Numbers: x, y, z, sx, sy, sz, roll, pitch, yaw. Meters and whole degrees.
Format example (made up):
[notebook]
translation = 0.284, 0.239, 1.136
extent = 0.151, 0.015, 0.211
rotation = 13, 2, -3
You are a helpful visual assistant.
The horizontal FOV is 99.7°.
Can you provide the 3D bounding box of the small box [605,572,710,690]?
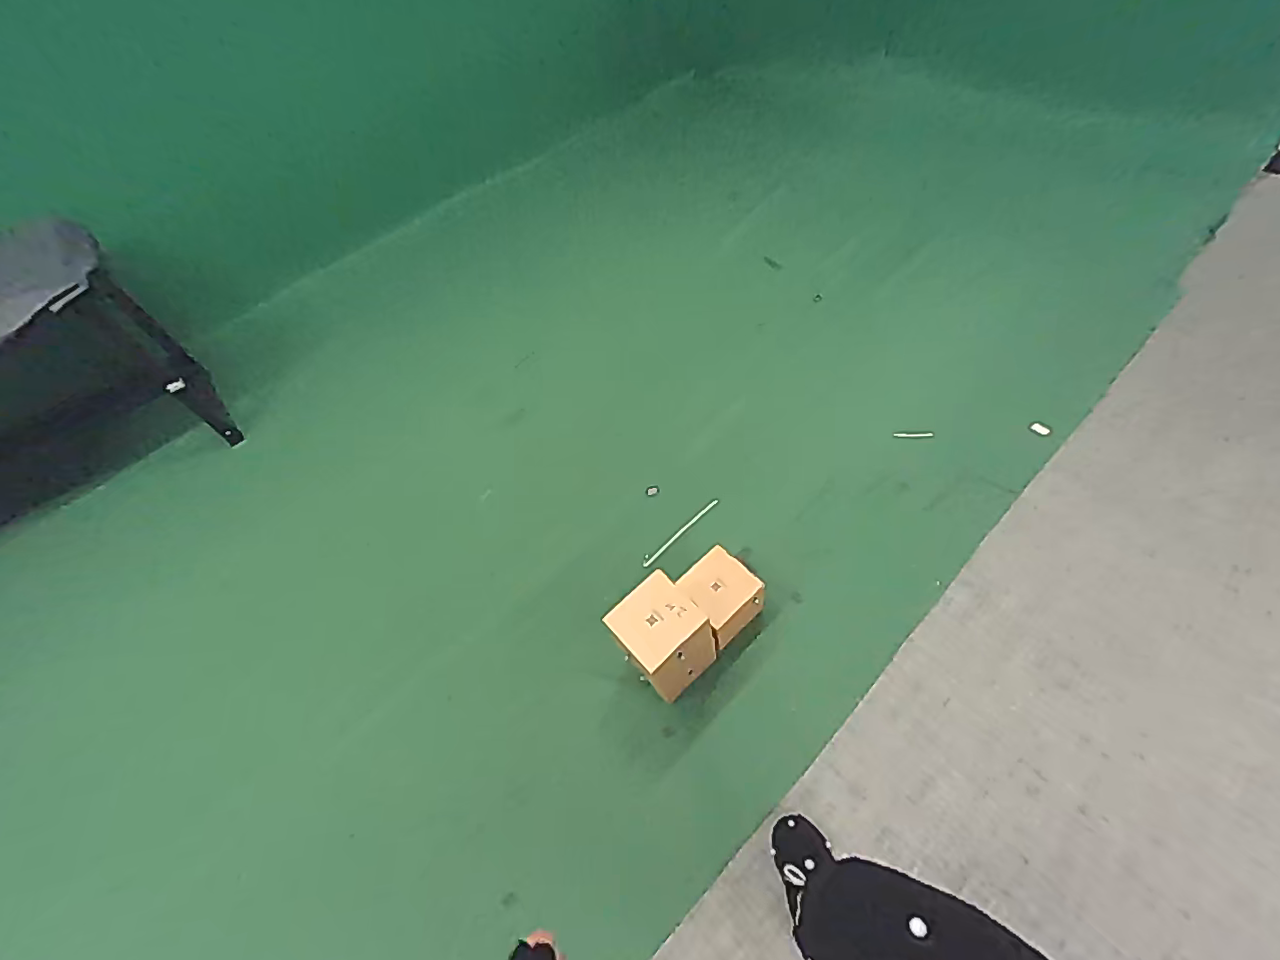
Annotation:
[small box]
translation = 0.049, 0.351, 1.242
extent = 0.179, 0.176, 0.168
rotation = -39, 58, -17
